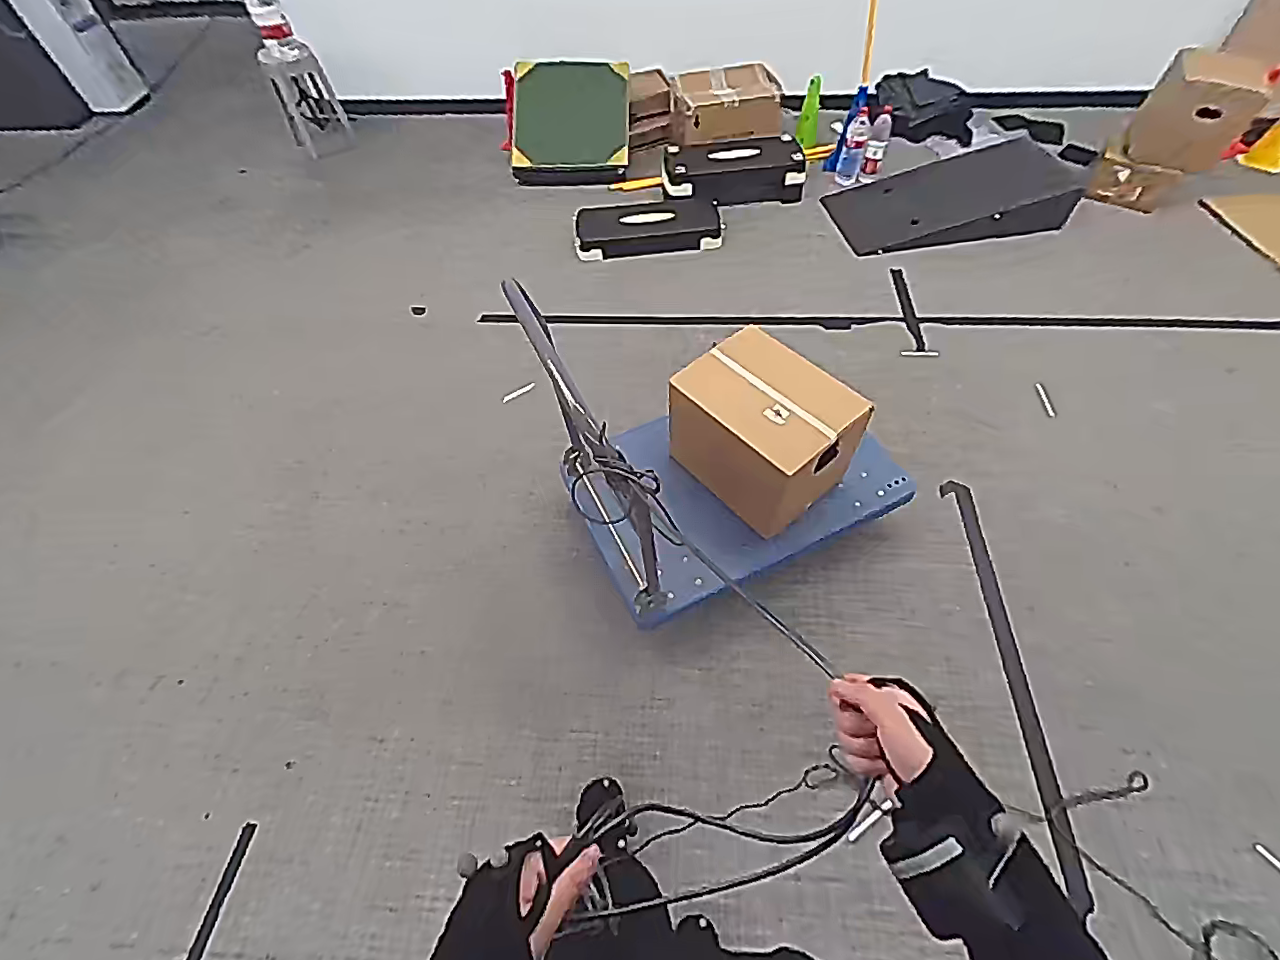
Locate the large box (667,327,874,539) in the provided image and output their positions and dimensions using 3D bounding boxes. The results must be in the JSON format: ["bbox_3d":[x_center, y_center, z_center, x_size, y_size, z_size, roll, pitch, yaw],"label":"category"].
[{"bbox_3d":[0.317,-0.126,1.439,0.320,0.320,0.408,-37,63,-19],"label":"large box"}]
